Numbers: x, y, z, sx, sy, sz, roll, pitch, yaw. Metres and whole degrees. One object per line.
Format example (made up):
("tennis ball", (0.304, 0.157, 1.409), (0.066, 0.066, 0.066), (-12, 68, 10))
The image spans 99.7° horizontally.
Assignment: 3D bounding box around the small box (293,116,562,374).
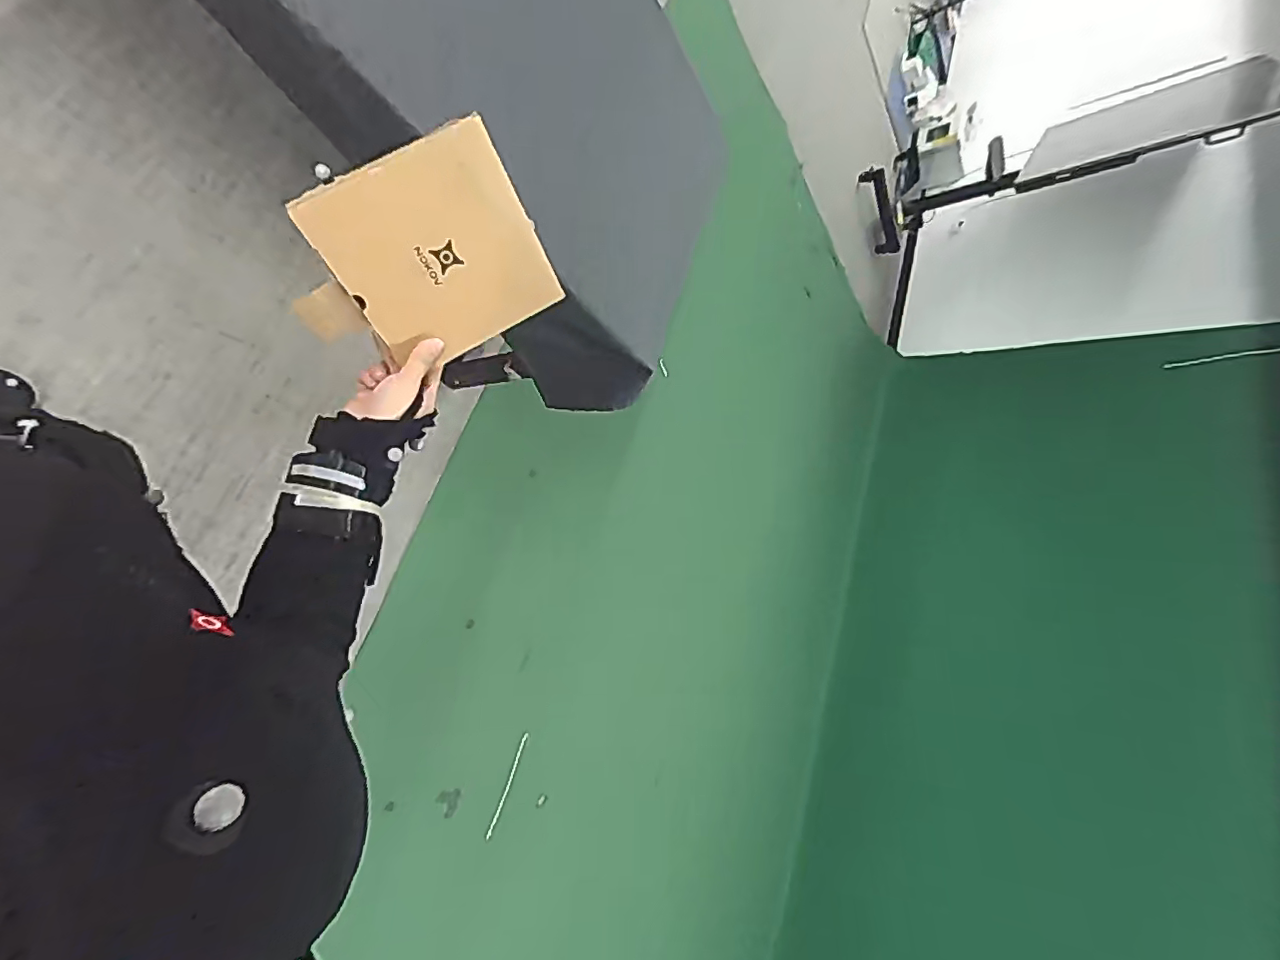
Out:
("small box", (-0.209, -0.241, 0.545), (0.179, 0.176, 0.168), (-31, 128, -7))
